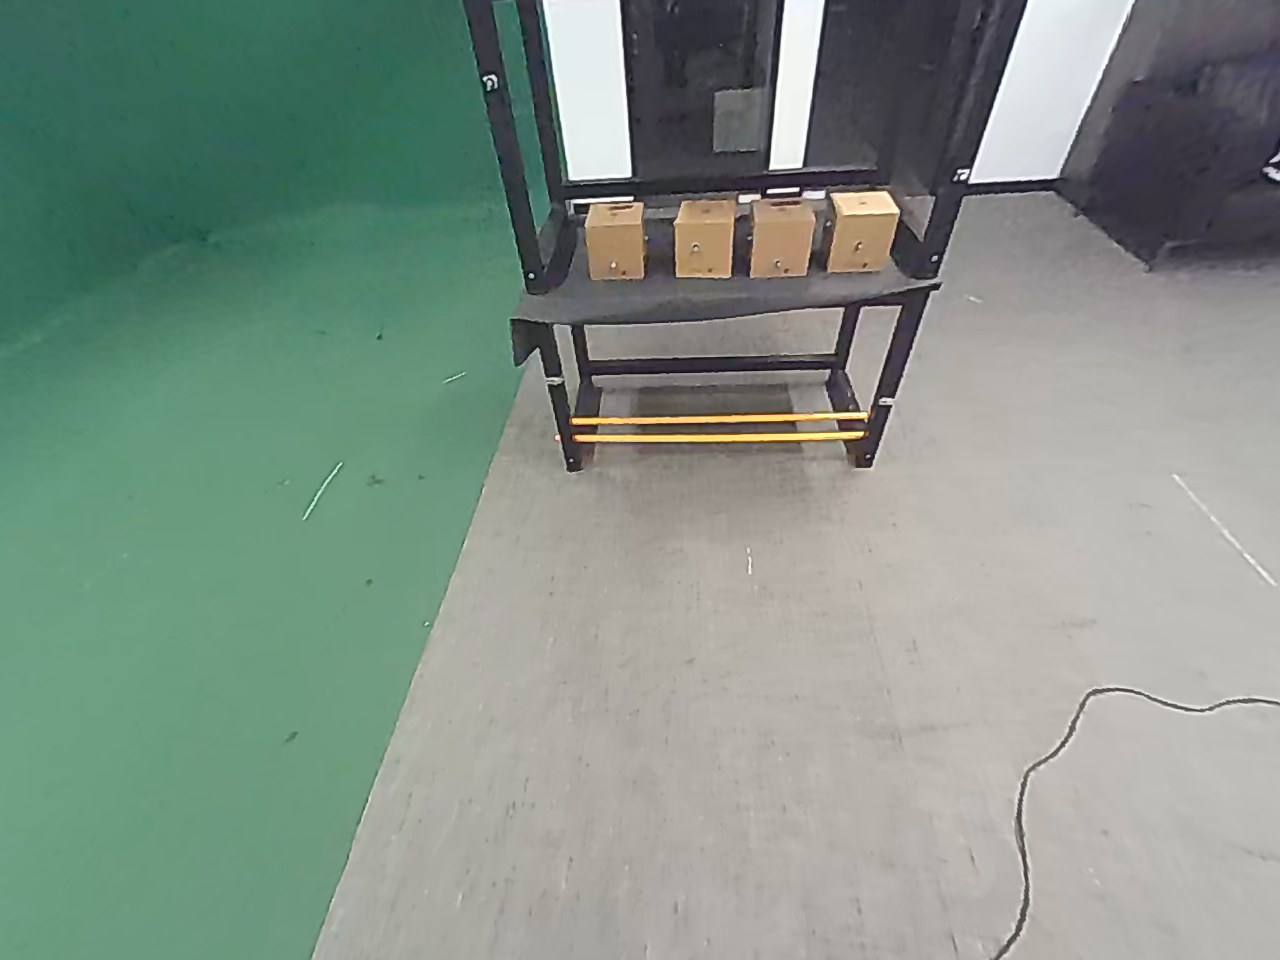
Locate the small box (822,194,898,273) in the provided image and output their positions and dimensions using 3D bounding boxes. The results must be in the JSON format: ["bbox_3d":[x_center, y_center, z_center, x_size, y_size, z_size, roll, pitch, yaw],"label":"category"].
[{"bbox_3d":[0.645,-0.728,1.603,0.168,0.176,0.179,2,45,7],"label":"small box"}]

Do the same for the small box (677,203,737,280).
[{"bbox_3d":[0.205,-0.724,1.645,0.168,0.176,0.179,4,46,9],"label":"small box"}]

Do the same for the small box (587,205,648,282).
[{"bbox_3d":[-0.063,-0.730,1.673,0.168,0.176,0.179,0,46,5],"label":"small box"}]
